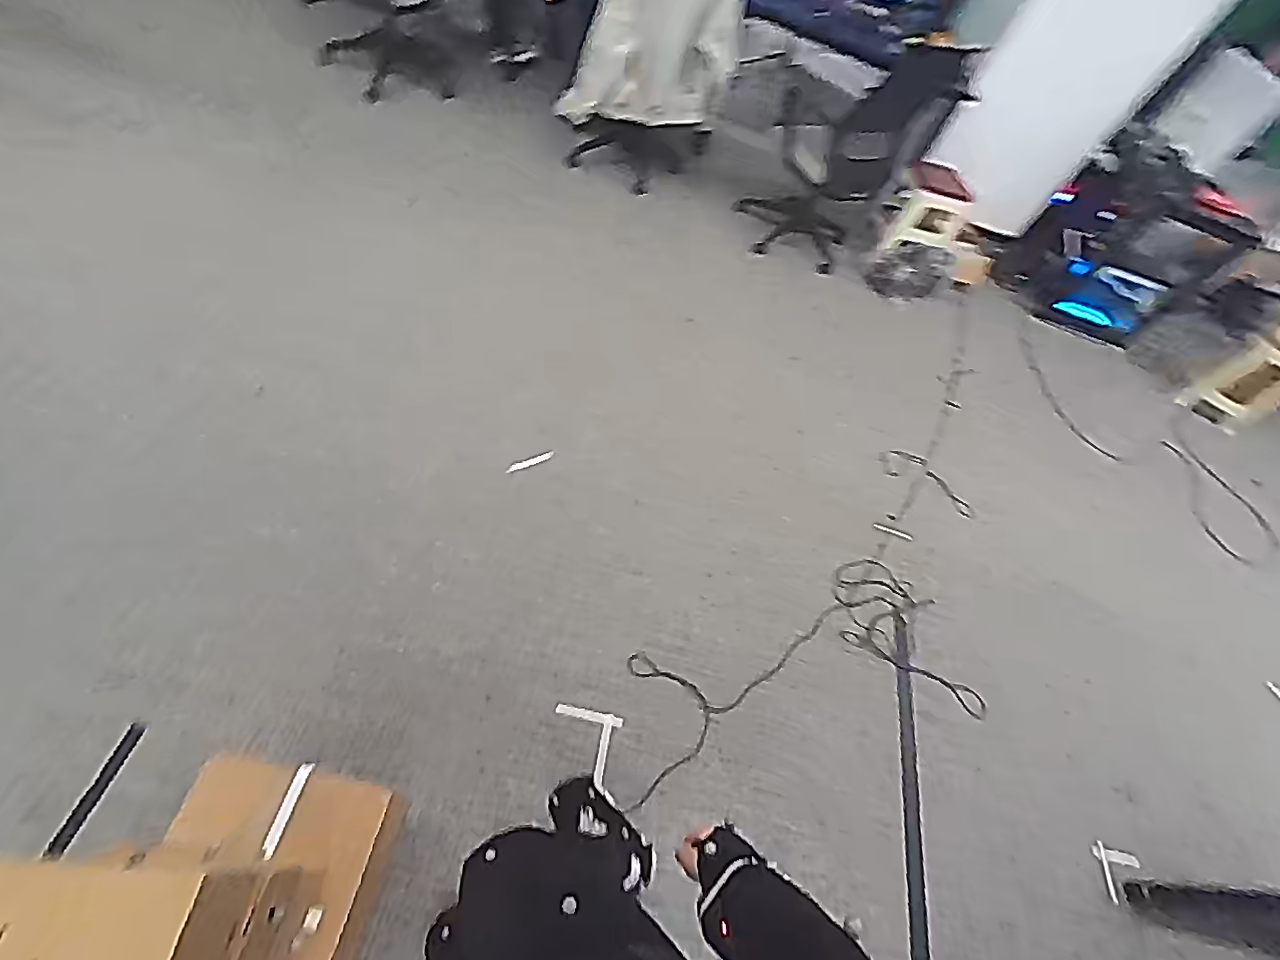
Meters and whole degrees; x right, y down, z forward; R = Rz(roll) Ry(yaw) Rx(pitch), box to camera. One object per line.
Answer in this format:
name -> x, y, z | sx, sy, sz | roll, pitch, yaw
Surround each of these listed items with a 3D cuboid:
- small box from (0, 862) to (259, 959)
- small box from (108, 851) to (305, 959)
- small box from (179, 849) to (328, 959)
small box -> -0.490, 0.452, 0.490 | 0.179, 0.176, 0.168 | 10, 54, -11
small box -> -0.527, 0.538, 0.625 | 0.179, 0.176, 0.168 | 13, 53, -7
small box -> -0.573, 0.628, 0.753 | 0.179, 0.176, 0.168 | 15, 55, -8
